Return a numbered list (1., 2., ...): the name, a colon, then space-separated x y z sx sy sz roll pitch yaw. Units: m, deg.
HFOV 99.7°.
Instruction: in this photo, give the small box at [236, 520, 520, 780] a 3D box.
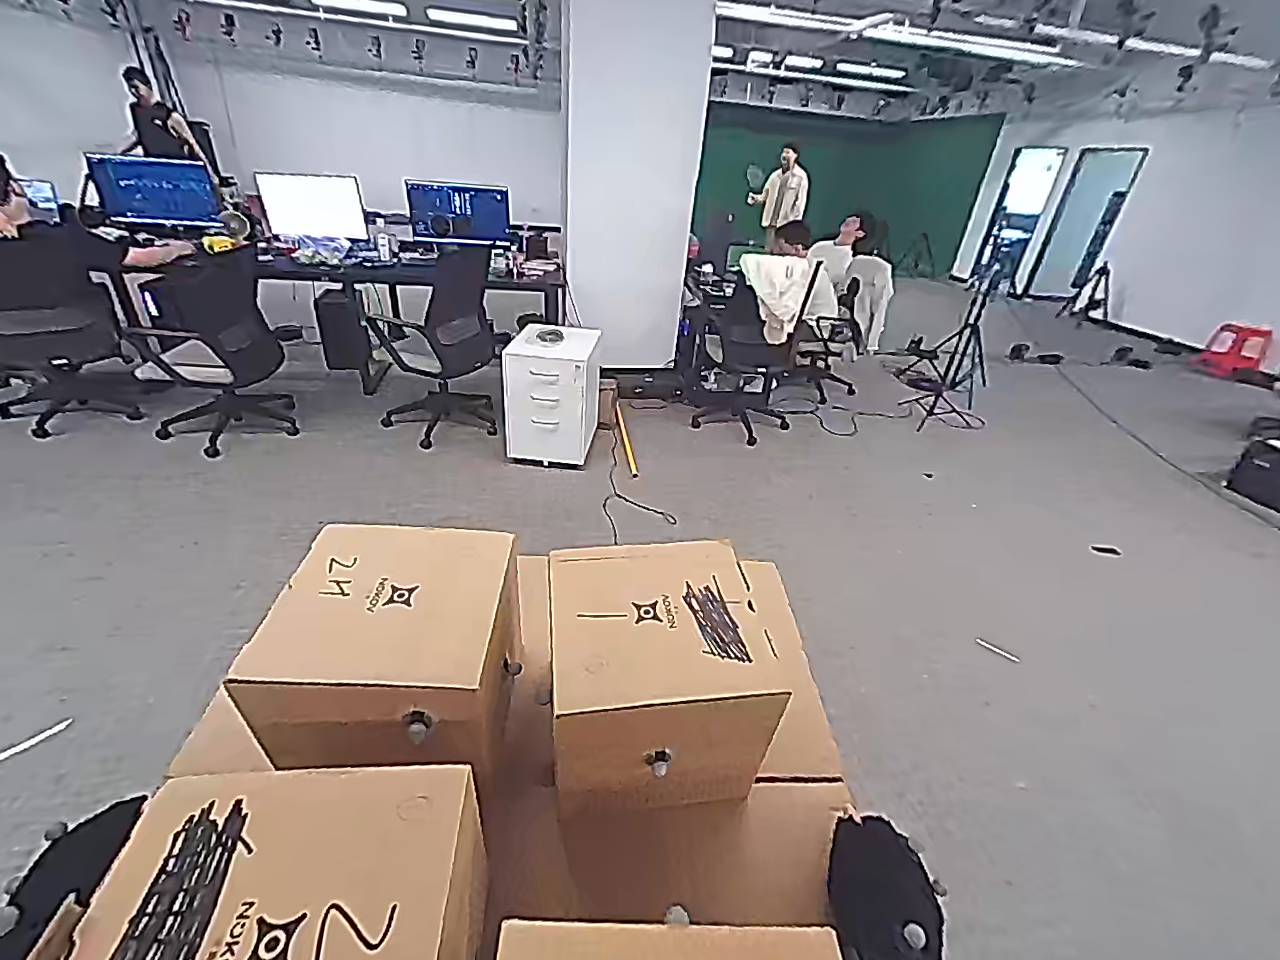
1. small box: -0.213 0.157 0.504 0.179 0.176 0.168 3 36 -3
